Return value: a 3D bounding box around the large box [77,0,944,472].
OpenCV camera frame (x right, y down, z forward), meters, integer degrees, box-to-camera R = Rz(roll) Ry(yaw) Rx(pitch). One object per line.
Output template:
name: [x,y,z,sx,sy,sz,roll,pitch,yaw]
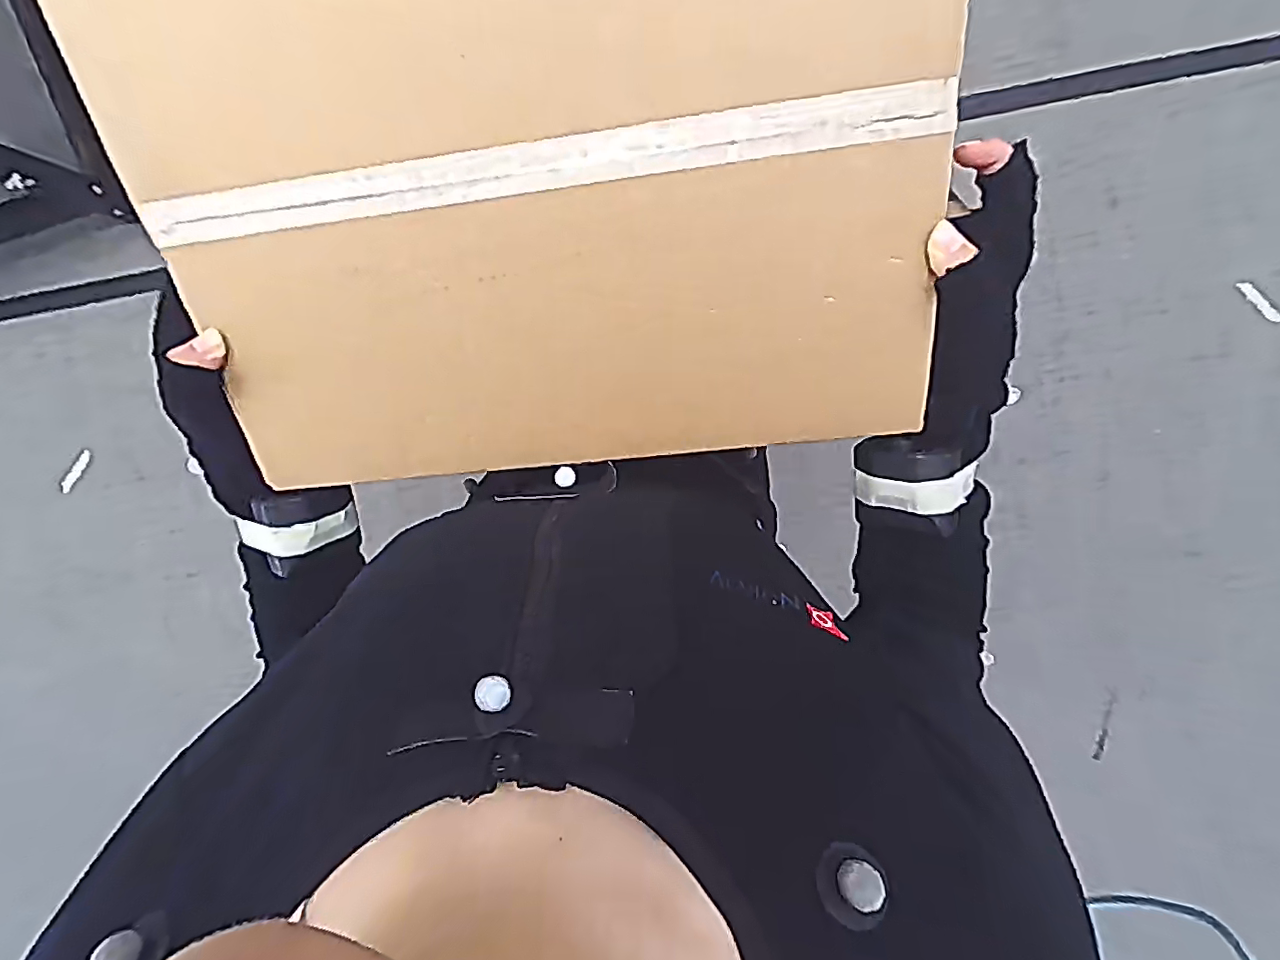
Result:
large box: [-0.052,-0.224,0.408,0.408,0.320,0.320,-5,116,5]
